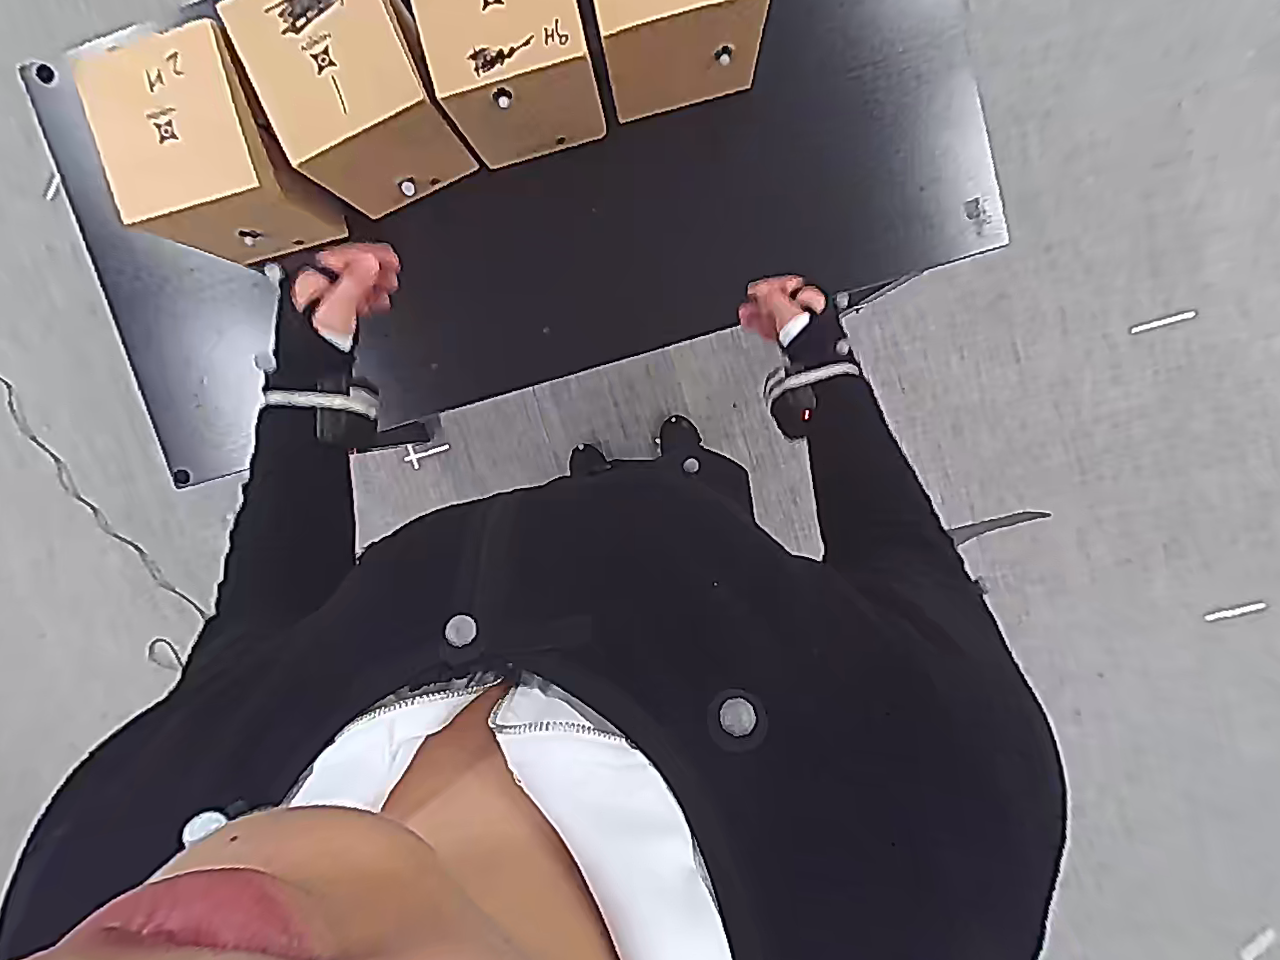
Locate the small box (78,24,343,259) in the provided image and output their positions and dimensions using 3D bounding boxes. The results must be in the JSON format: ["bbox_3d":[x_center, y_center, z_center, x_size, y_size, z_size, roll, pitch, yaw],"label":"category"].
[{"bbox_3d":[-0.502,-0.389,0.662,0.168,0.176,0.179,-13,95,4],"label":"small box"}]
